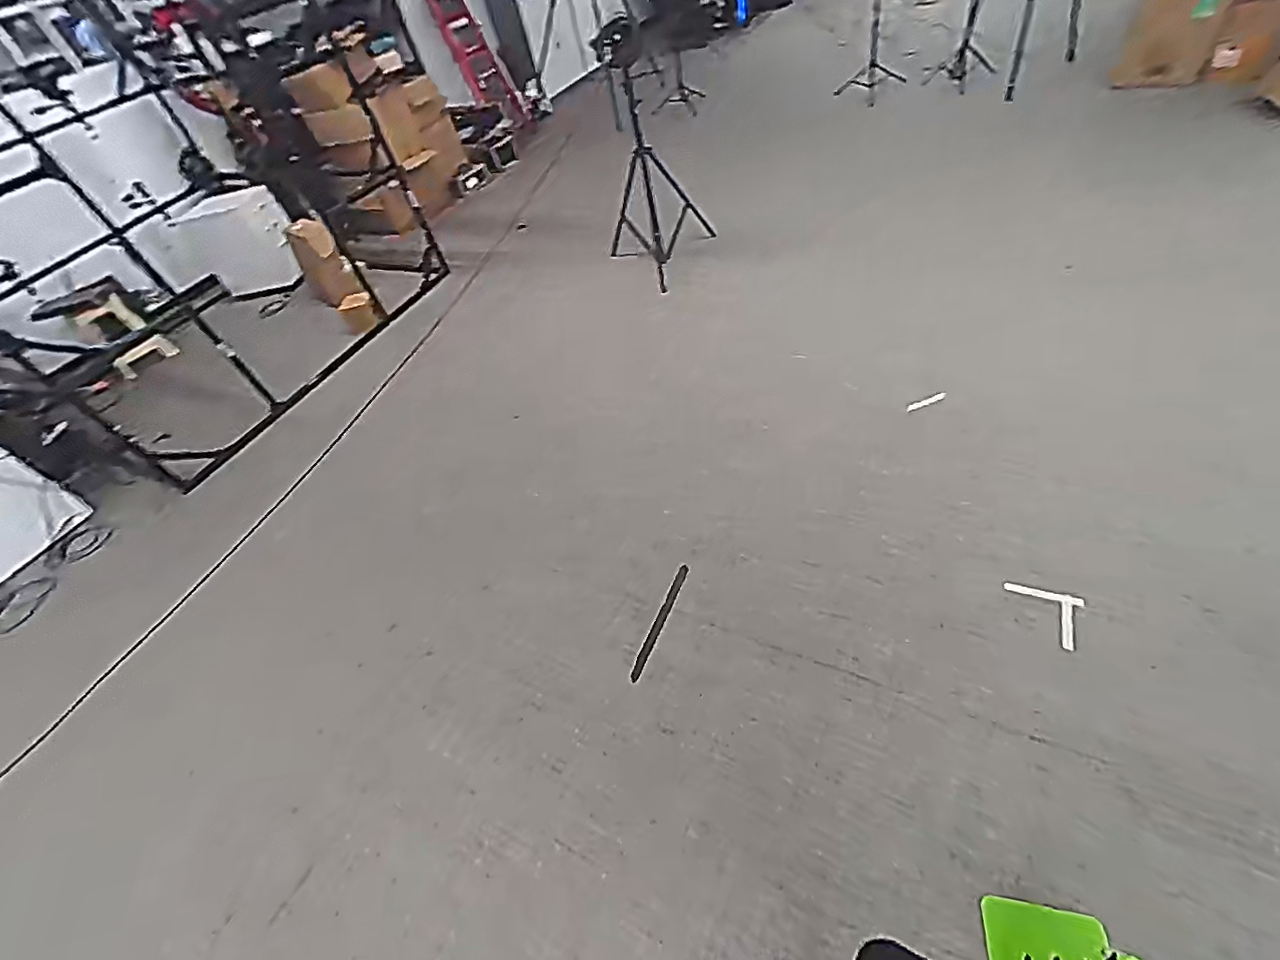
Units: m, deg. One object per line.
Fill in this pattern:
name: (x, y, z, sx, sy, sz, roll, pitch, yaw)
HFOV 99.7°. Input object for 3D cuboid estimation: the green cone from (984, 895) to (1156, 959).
green cone: (0.708, 0.766, 0.842, 0.200, 0.368, 0.202, 0, 48, 17)
